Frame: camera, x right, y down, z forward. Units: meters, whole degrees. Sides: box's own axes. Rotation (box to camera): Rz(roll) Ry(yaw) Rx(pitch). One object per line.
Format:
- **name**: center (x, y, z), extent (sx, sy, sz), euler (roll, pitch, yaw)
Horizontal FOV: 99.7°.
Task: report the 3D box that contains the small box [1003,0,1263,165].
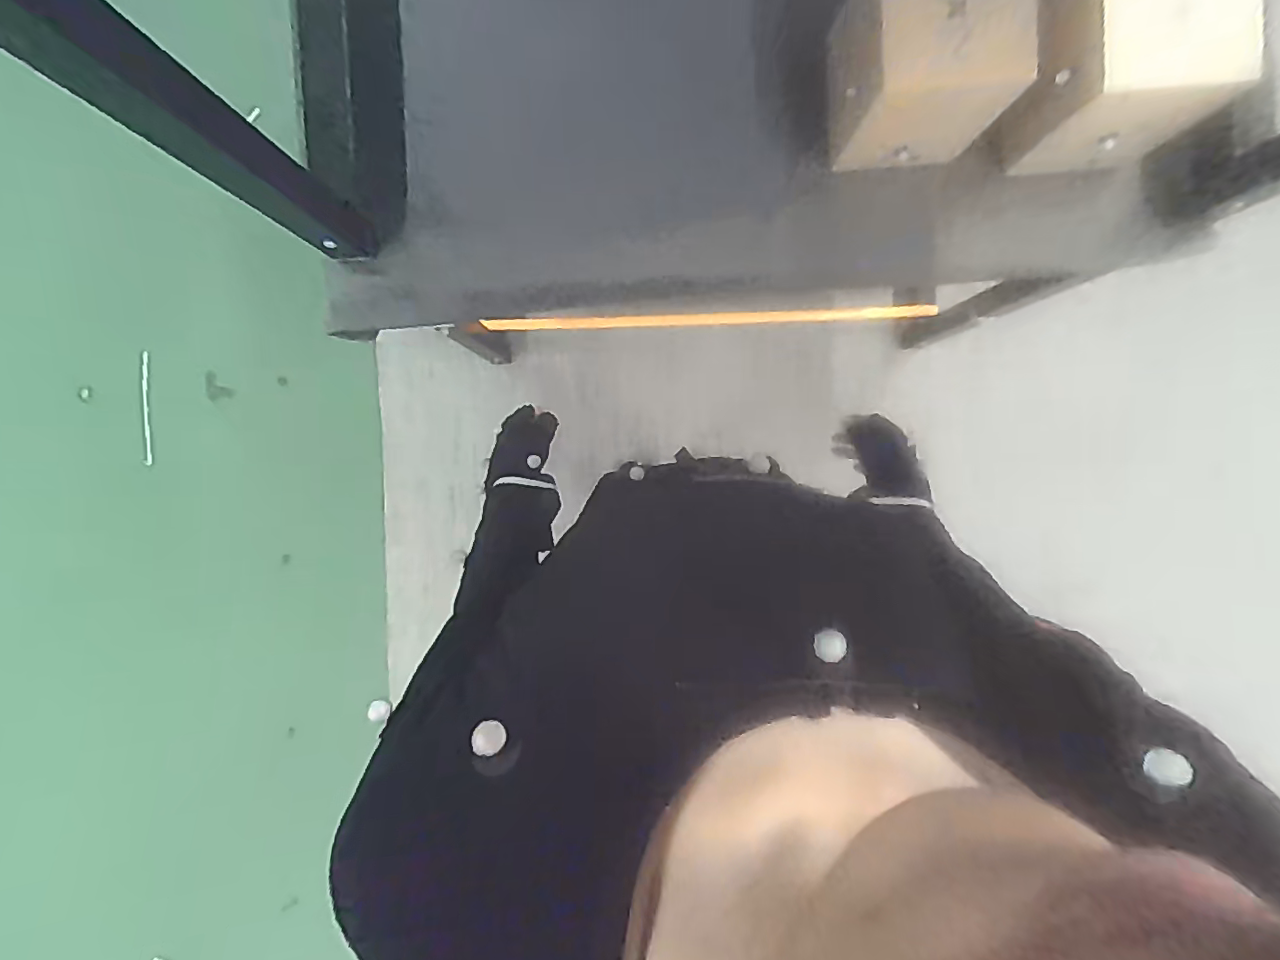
- **small box**: center (0.569, -0.504, 0.647), extent (0.168, 0.176, 0.179), euler (-3, 91, 1)
